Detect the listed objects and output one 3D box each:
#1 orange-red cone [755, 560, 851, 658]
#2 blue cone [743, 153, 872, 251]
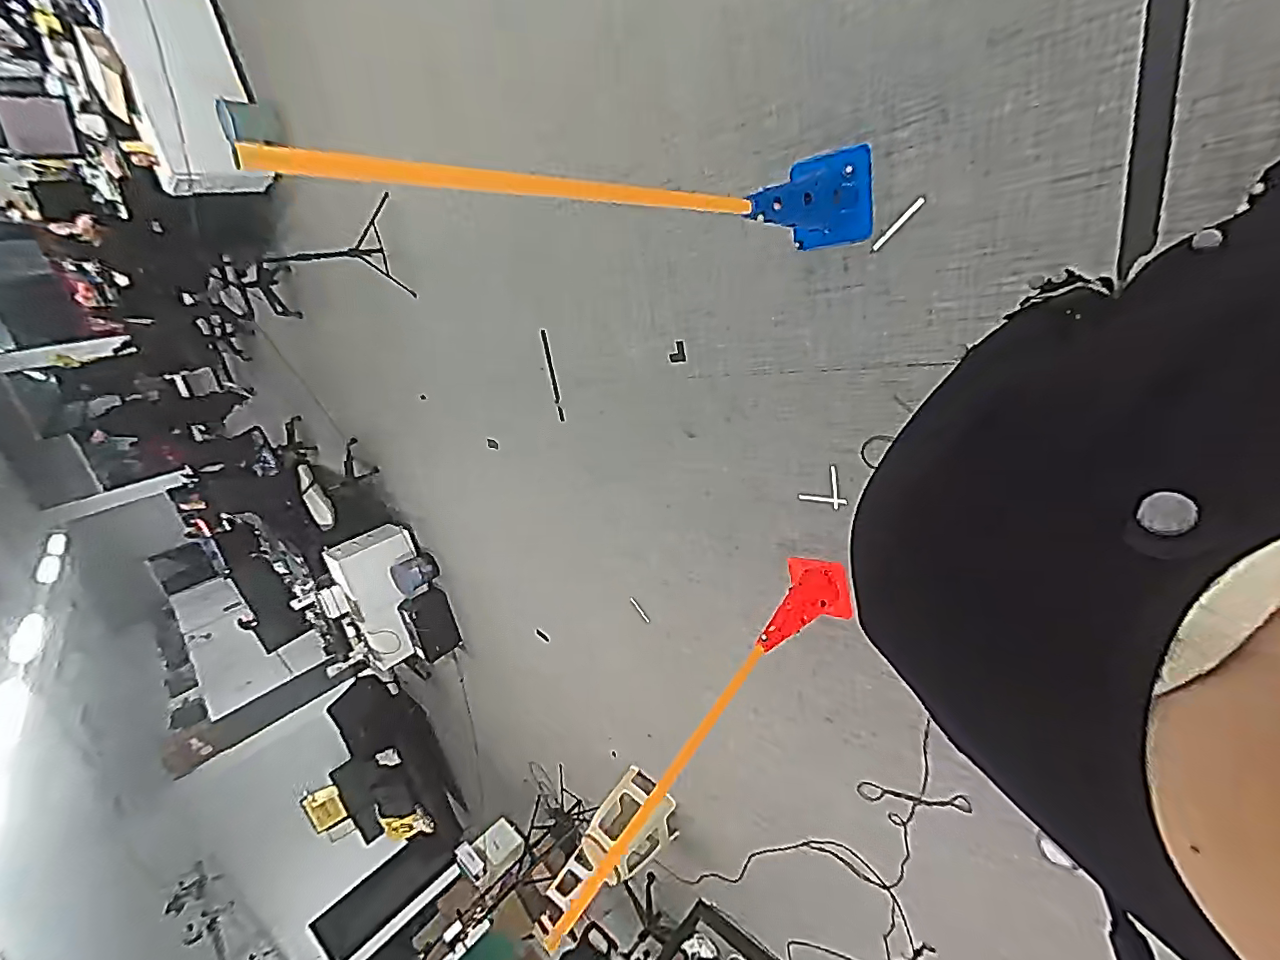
[{"bbox_3d":[0.458,0.416,1.627,0.199,0.360,0.198,2,113,46],"label":"orange-red cone"},{"bbox_3d":[0.344,-0.599,1.189,0.193,0.380,0.192,12,121,44],"label":"blue cone"}]
